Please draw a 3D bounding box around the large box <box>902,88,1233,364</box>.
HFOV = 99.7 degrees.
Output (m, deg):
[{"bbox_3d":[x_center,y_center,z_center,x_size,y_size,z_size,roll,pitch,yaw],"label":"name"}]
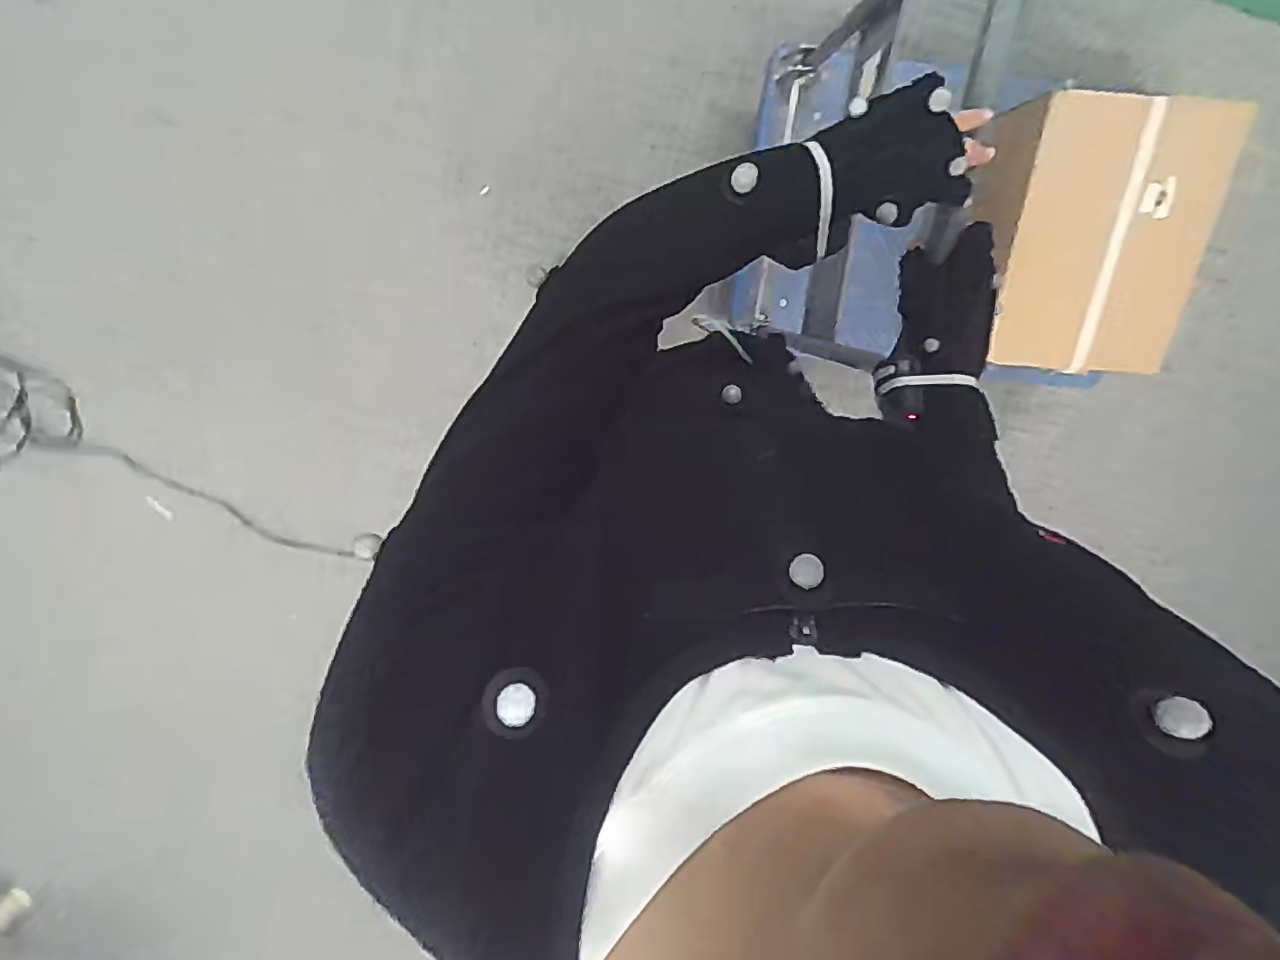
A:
[{"bbox_3d":[0.742,-0.438,1.017,0.320,0.320,0.408,3,107,-2],"label":"large box"}]
